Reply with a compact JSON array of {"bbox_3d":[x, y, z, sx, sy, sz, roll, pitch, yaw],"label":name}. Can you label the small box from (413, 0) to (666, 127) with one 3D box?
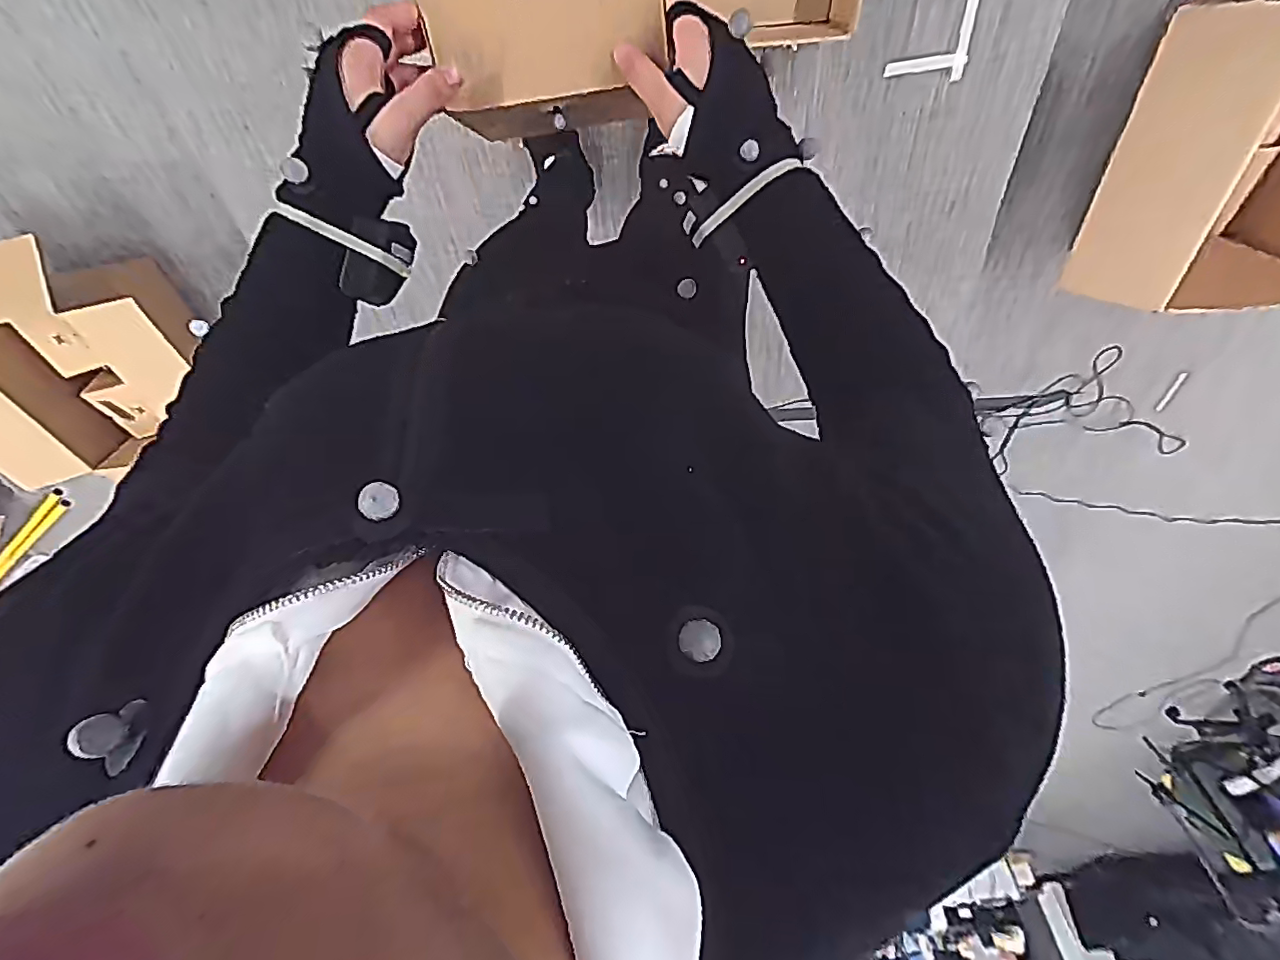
[{"bbox_3d":[-0.080,-0.401,0.437,0.179,0.176,0.168,-9,118,1],"label":"small box"}]
